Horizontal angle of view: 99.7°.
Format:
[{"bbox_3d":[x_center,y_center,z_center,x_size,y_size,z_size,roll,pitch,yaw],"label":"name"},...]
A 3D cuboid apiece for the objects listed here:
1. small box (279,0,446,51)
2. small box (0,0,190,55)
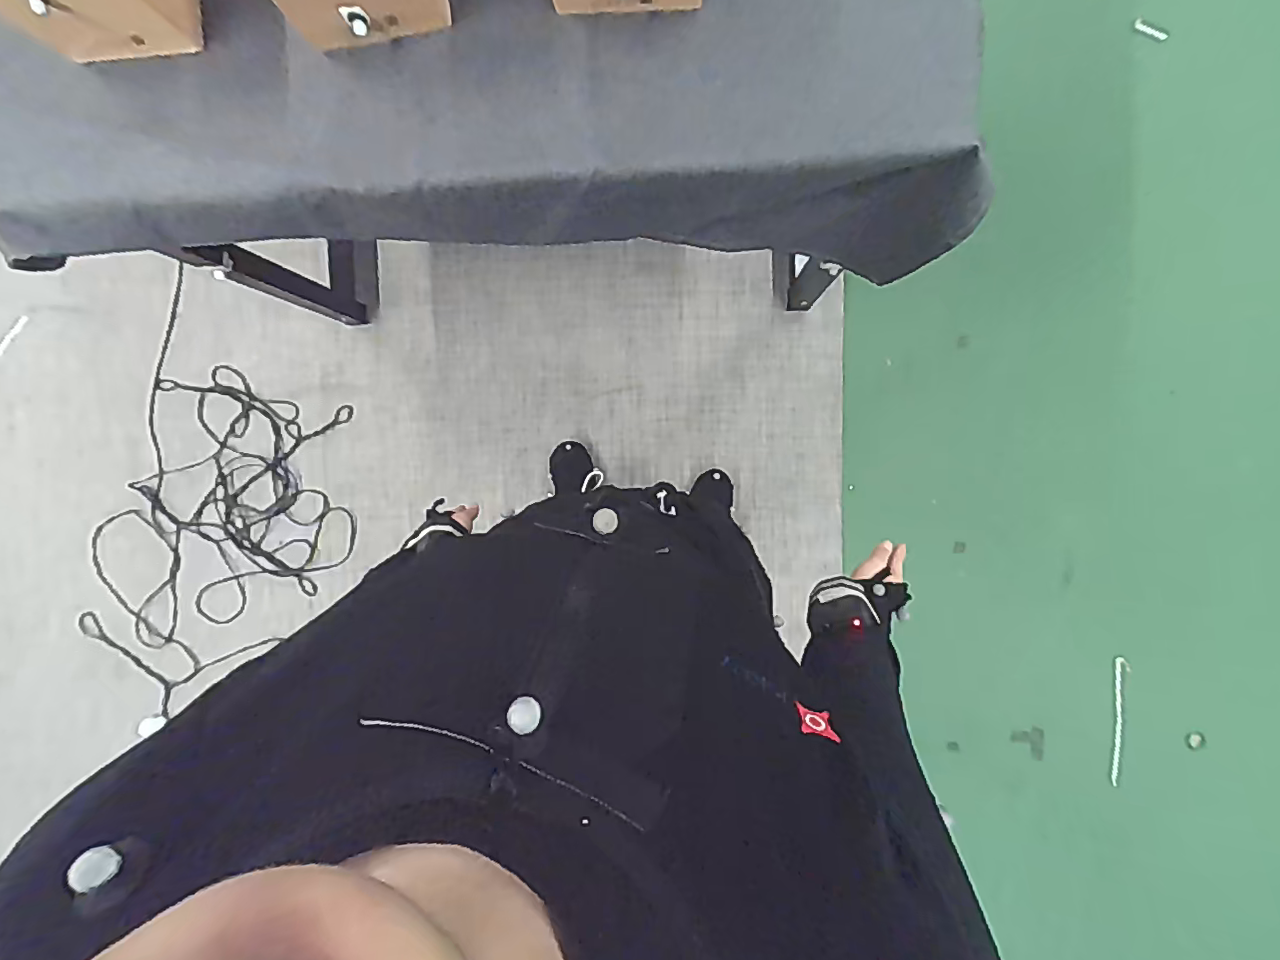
[{"bbox_3d":[-0.317,-0.592,0.544,0.168,0.176,0.179,-9,93,6],"label":"small box"},{"bbox_3d":[-0.616,-0.585,0.563,0.168,0.176,0.179,-3,91,4],"label":"small box"}]
